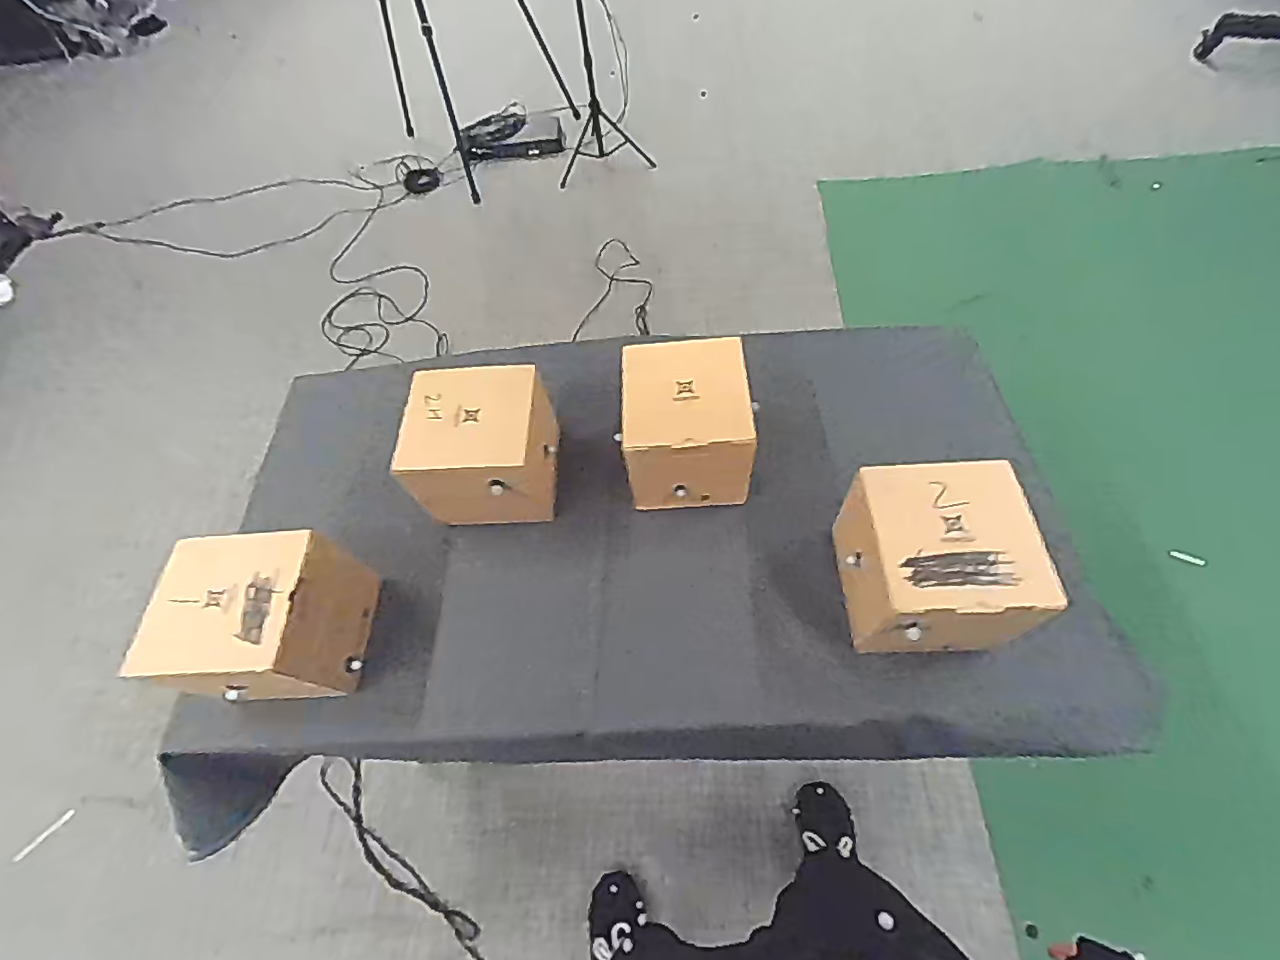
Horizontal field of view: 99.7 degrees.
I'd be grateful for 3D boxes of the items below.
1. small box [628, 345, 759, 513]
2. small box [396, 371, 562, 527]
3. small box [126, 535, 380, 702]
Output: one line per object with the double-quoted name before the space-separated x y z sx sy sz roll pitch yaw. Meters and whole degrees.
"small box" 0.071 -0.069 0.781 0.168 0.176 0.179 -4 60 3
"small box" -0.217 -0.039 0.788 0.179 0.176 0.168 -2 60 4
"small box" -0.463 0.180 0.685 0.179 0.176 0.168 -4 59 4
